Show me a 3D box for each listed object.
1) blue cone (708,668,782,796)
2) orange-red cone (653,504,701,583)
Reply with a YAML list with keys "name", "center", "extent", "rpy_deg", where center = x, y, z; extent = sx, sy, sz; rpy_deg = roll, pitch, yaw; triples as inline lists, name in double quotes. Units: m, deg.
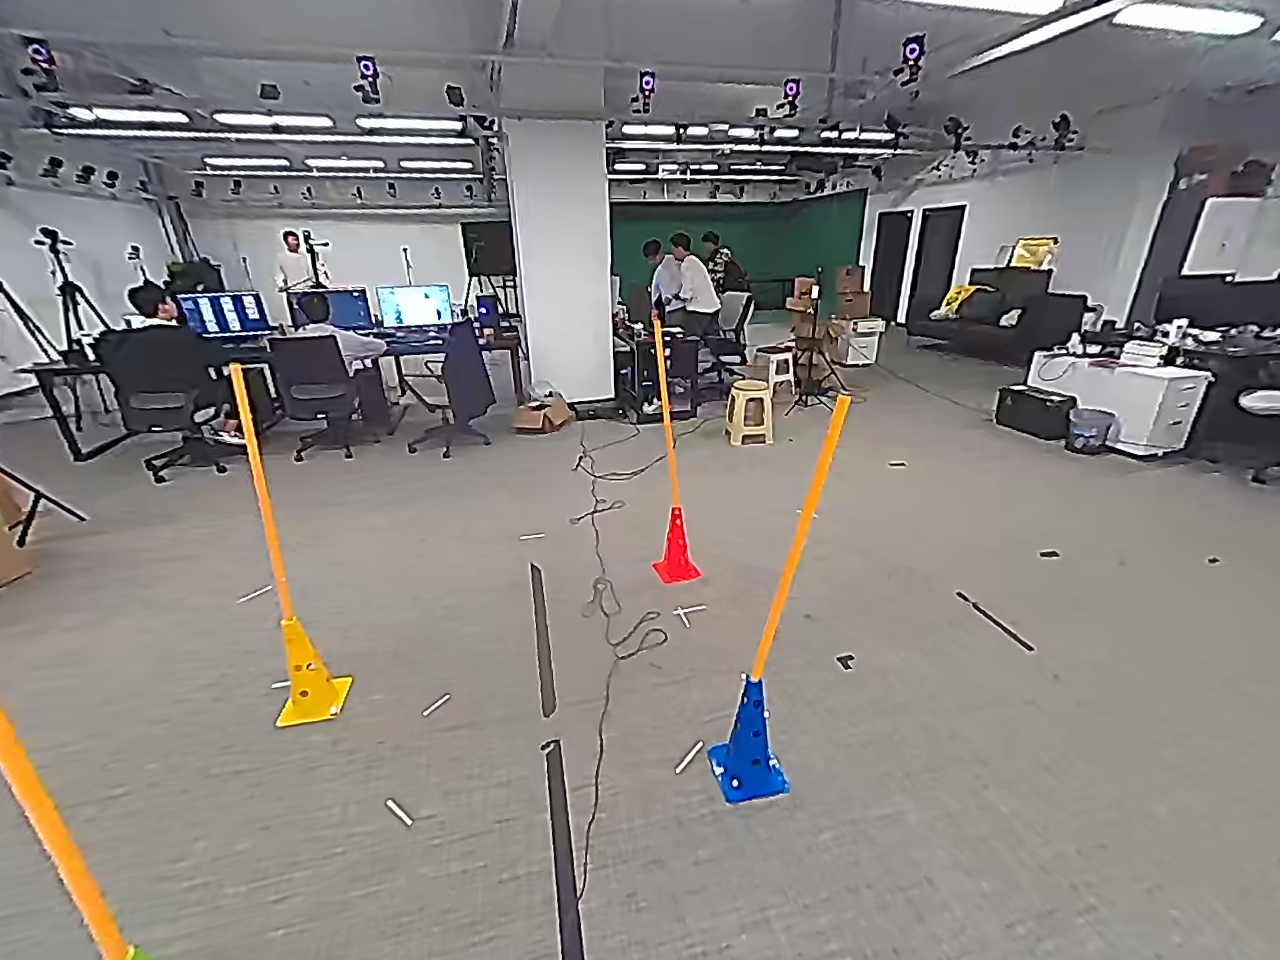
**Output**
- name: "blue cone"
  center: [0.316, 0.718, 1.586]
  extent: [0.193, 0.380, 0.192]
  rpy_deg: [-5, 22, -9]
- name: "orange-red cone"
  center: [0.172, 0.285, 2.599]
  extent: [0.199, 0.360, 0.198]
  rpy_deg: [-10, 23, -16]
